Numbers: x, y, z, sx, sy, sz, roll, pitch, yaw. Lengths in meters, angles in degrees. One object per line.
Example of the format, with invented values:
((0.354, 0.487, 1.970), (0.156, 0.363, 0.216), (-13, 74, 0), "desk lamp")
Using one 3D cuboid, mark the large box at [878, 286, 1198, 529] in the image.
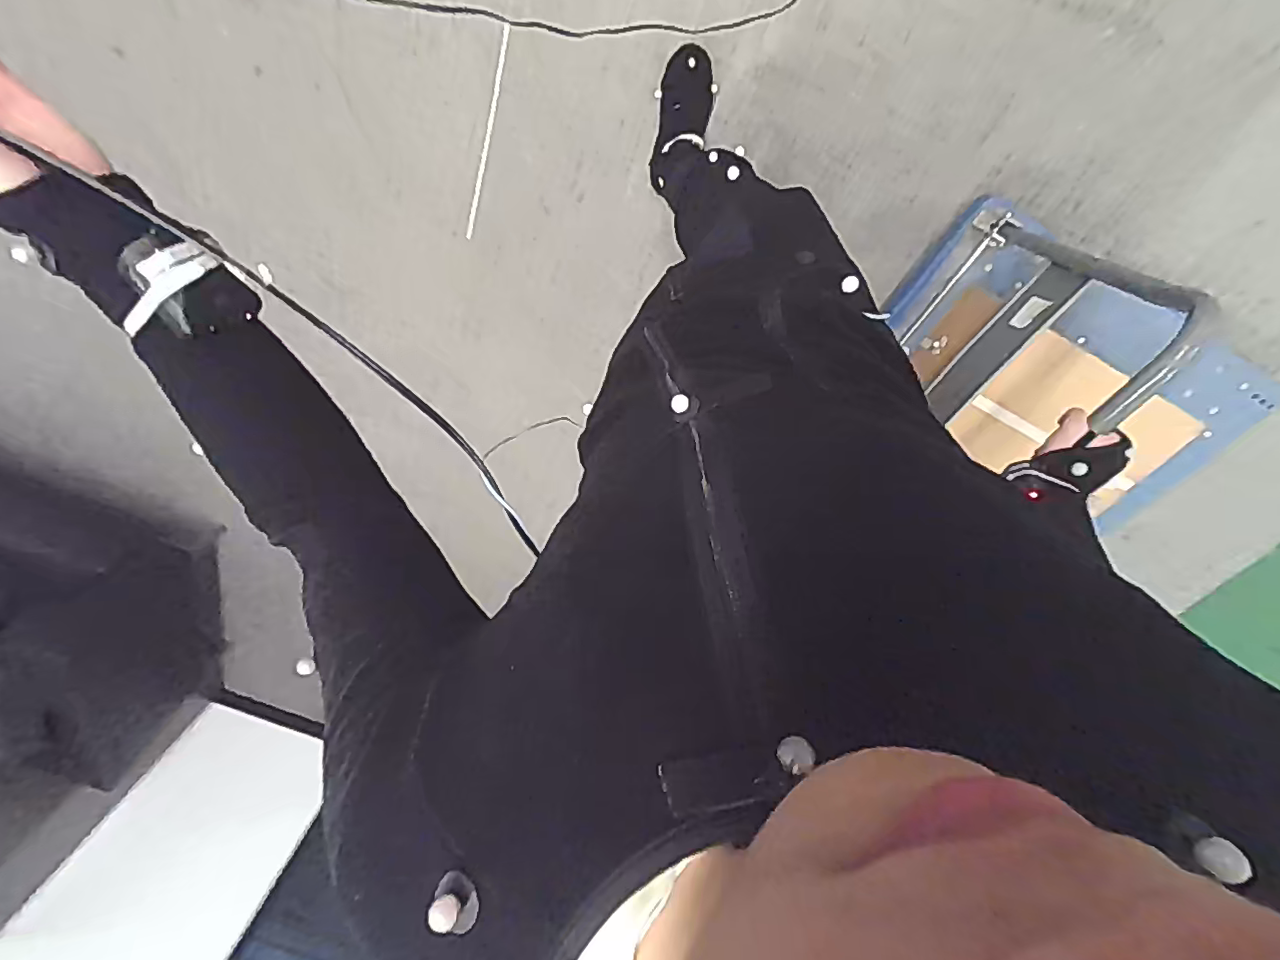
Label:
((0.812, -0.166, 1.179), (0.408, 0.320, 0.320), (27, 123, -7), "large box")
